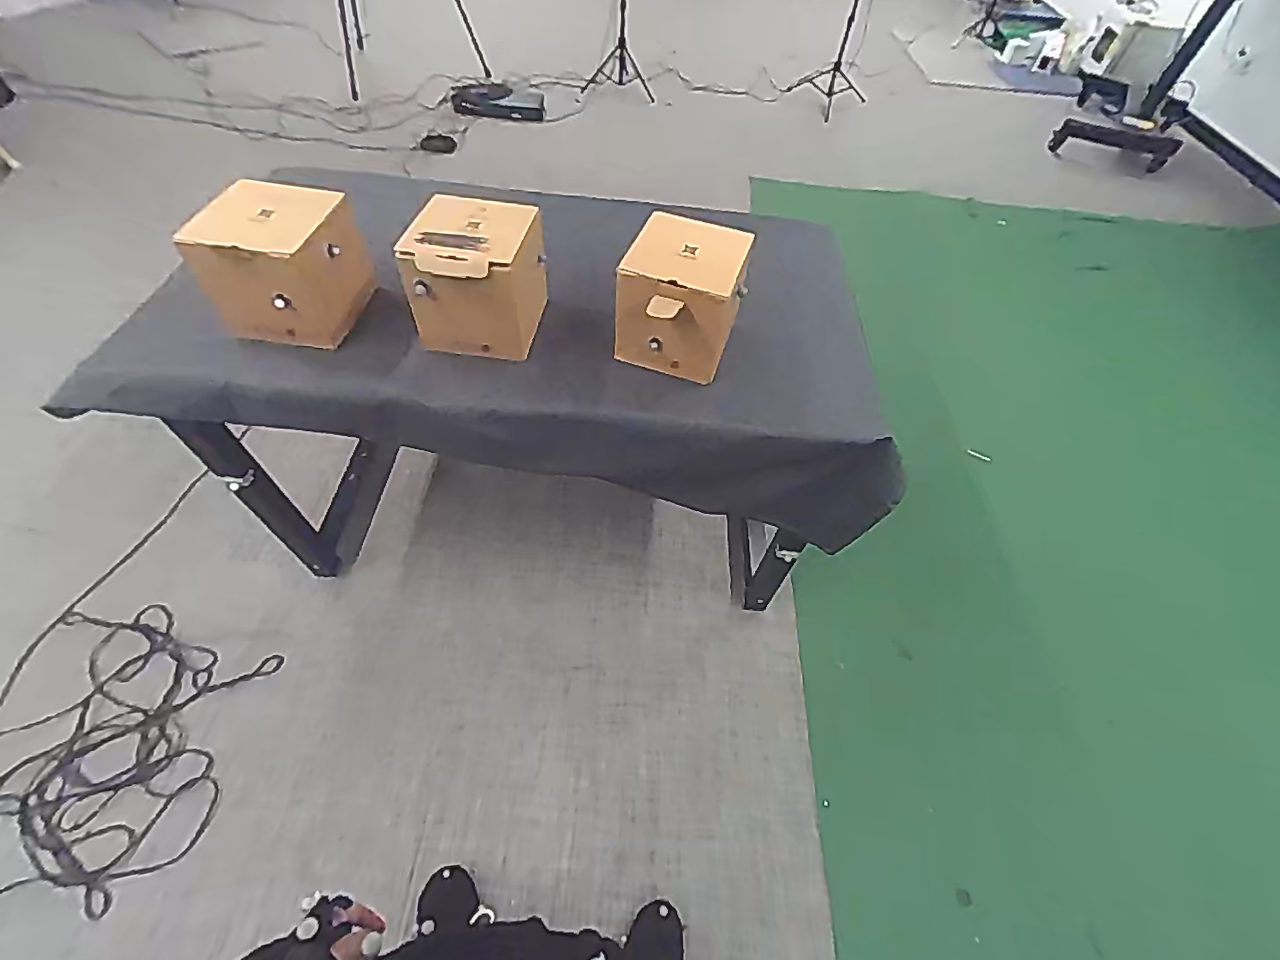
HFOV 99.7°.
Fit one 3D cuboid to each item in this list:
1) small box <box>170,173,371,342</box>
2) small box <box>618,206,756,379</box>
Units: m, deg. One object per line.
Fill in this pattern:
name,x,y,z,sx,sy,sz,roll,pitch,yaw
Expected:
small box,-0.542,-0.337,0.830,0.168,0.176,0.179,8,53,-1
small box,0.068,-0.292,0.853,0.168,0.176,0.179,18,55,8
